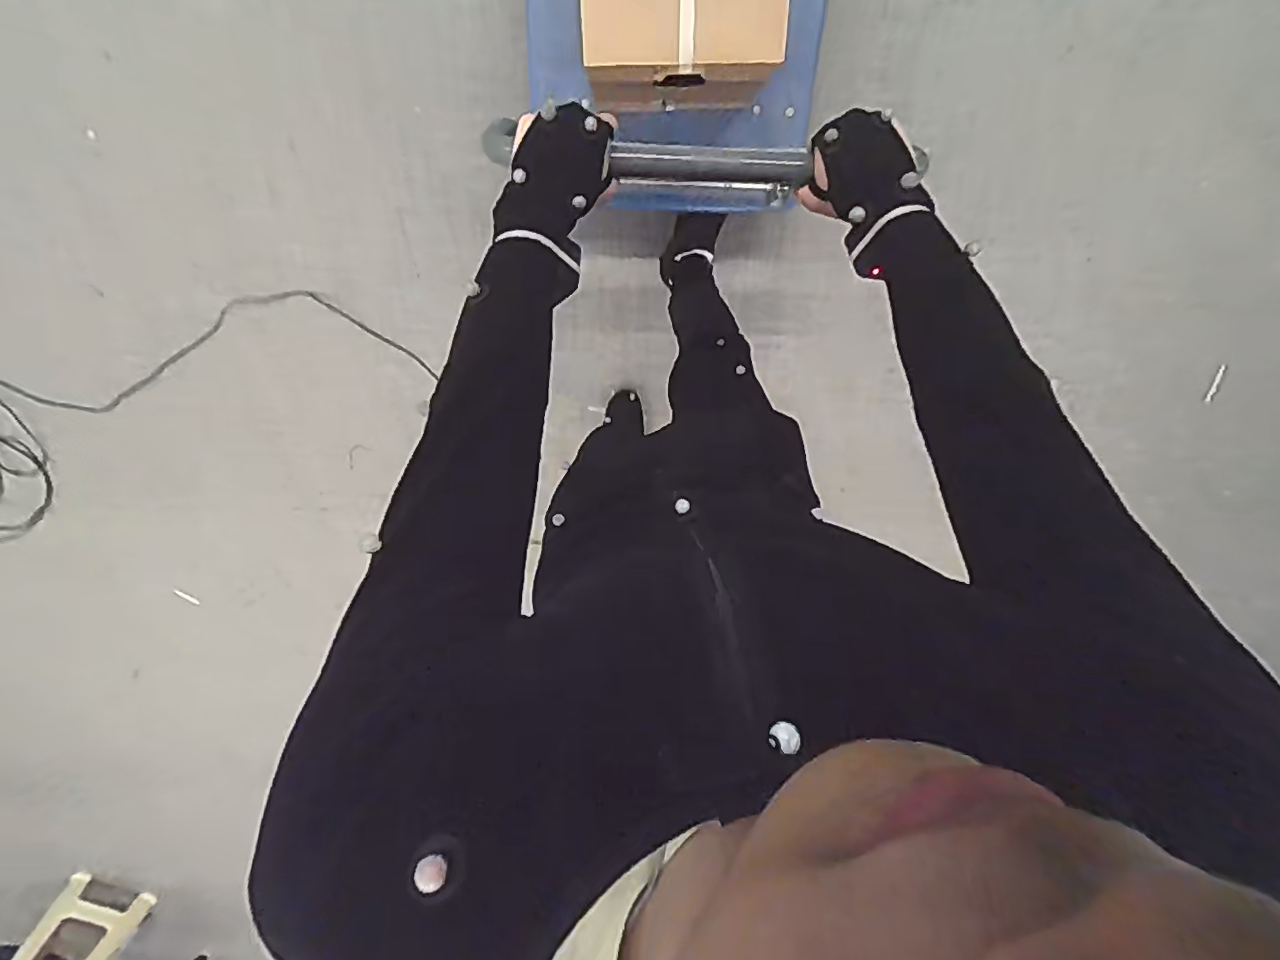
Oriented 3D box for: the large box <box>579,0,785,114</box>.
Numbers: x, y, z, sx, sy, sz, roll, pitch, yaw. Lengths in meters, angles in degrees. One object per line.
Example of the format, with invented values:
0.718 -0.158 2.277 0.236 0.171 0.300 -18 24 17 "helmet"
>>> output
0.060 -0.885 0.902 0.320 0.320 0.408 -1 114 0 "large box"
